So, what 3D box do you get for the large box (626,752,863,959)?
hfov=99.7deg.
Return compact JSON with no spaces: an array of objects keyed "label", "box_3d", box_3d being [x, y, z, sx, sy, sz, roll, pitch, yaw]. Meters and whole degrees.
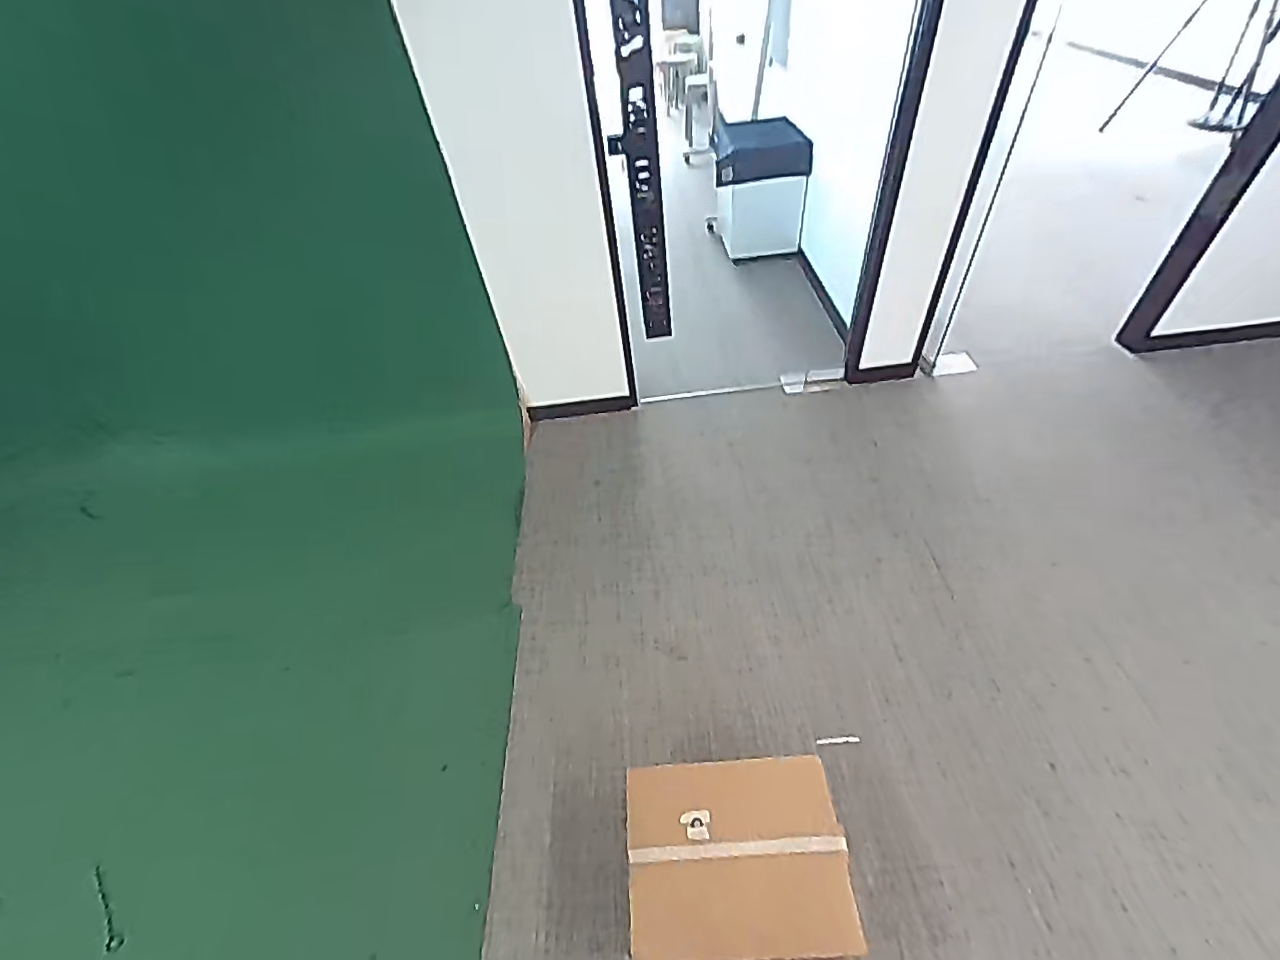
[{"label":"large box","box_3d":[0.192,0.791,1.125,0.408,0.320,0.320,-6,46,4]}]
